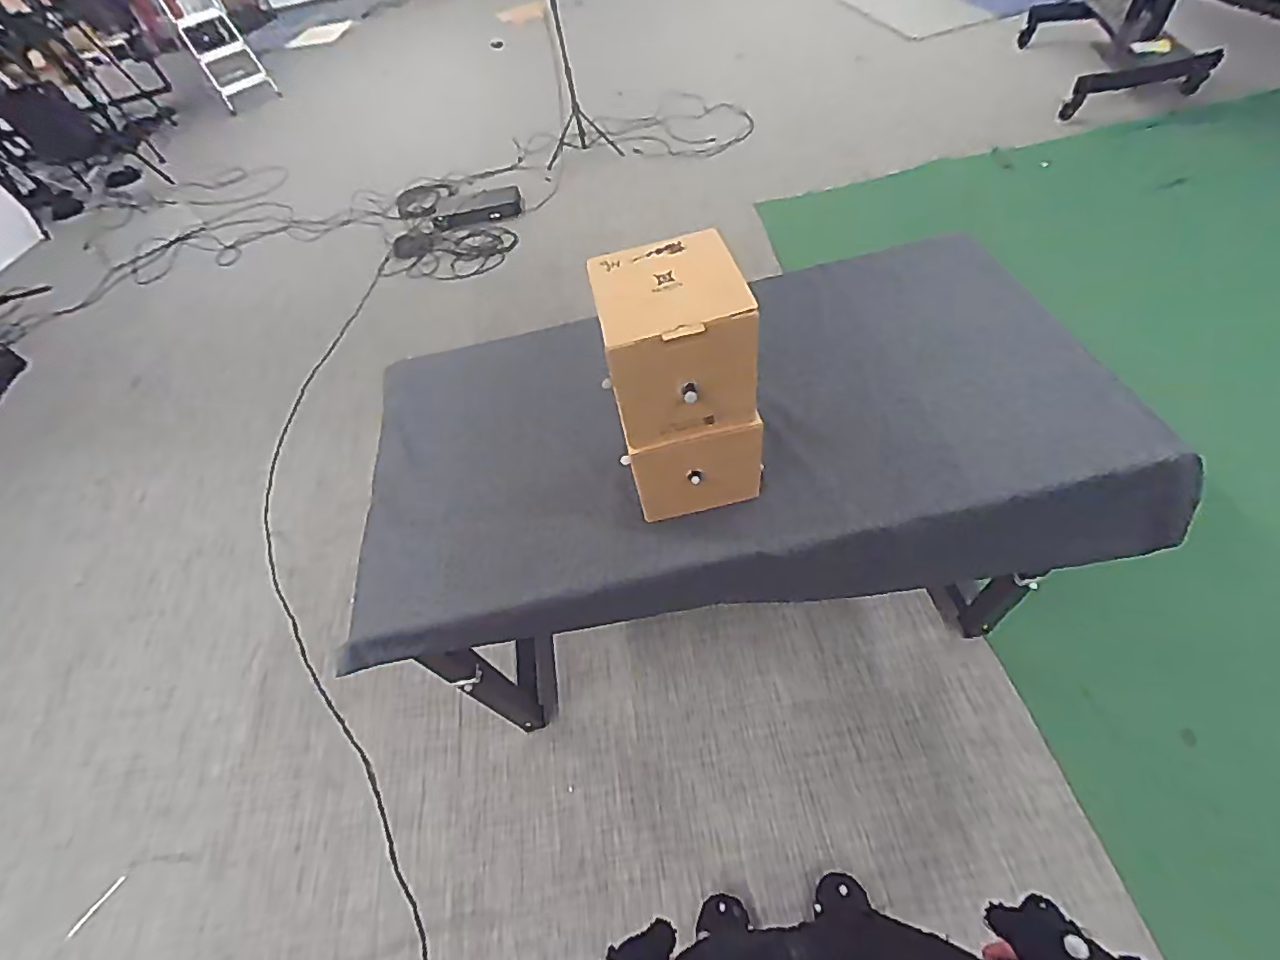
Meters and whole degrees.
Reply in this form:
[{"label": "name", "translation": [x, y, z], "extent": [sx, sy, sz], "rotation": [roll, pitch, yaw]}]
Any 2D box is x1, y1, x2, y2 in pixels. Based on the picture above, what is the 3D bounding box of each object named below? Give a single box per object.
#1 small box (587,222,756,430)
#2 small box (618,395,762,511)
[{"label": "small box", "translation": [0.041, -0.180, 0.670], "extent": [0.168, 0.176, 0.179], "rotation": [-13, 54, 1]}, {"label": "small box", "translation": [0.069, -0.077, 0.794], "extent": [0.179, 0.176, 0.168], "rotation": [-13, 54, 1]}]
